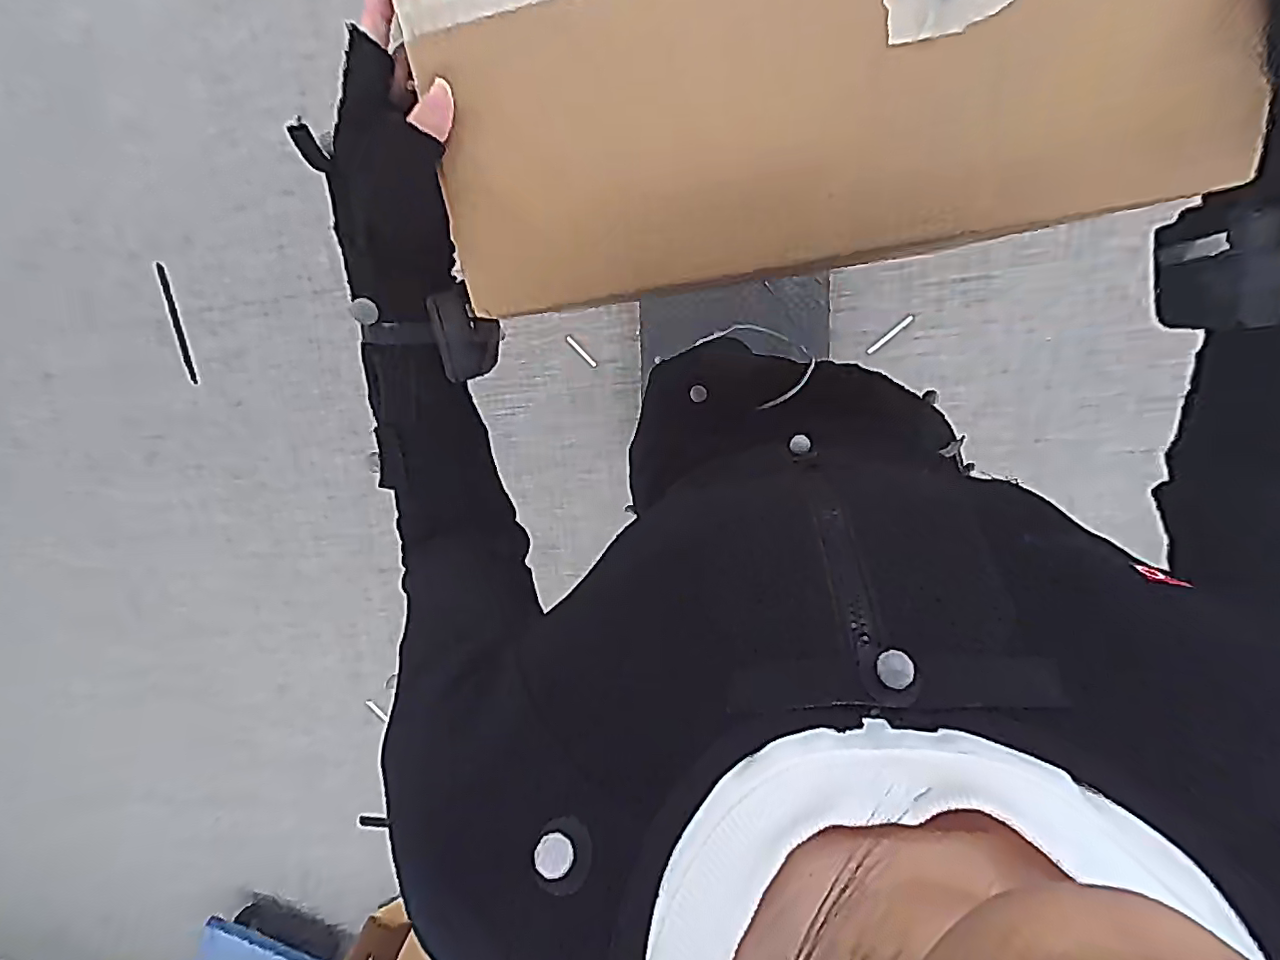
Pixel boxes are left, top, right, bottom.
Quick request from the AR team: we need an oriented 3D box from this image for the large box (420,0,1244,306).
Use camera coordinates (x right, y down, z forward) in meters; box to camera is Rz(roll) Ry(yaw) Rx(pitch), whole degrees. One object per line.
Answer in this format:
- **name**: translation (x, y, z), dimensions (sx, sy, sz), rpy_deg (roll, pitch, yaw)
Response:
- **large box**: translation (0.090, -0.325, 0.403), dimensions (0.408, 0.320, 0.320), rpy_deg (-7, 108, 10)
